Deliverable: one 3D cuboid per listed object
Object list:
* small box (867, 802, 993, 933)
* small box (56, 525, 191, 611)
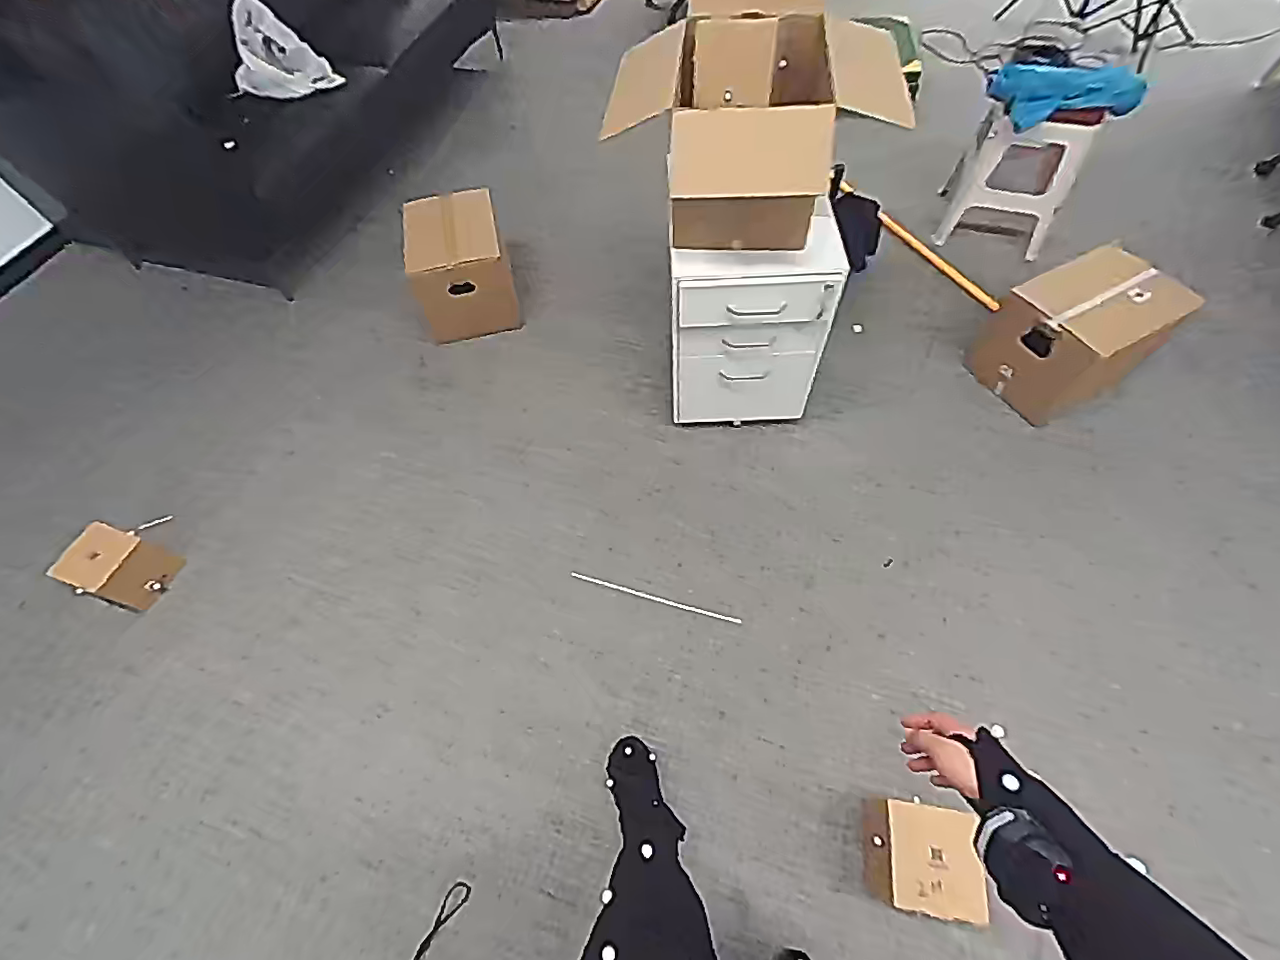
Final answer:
[{"bbox_3d":[0.557,0.750,1.066,0.168,0.176,0.179,7,60,8],"label":"small box"},{"bbox_3d":[-1.442,0.253,1.521,0.179,0.176,0.168,15,62,11],"label":"small box"}]
